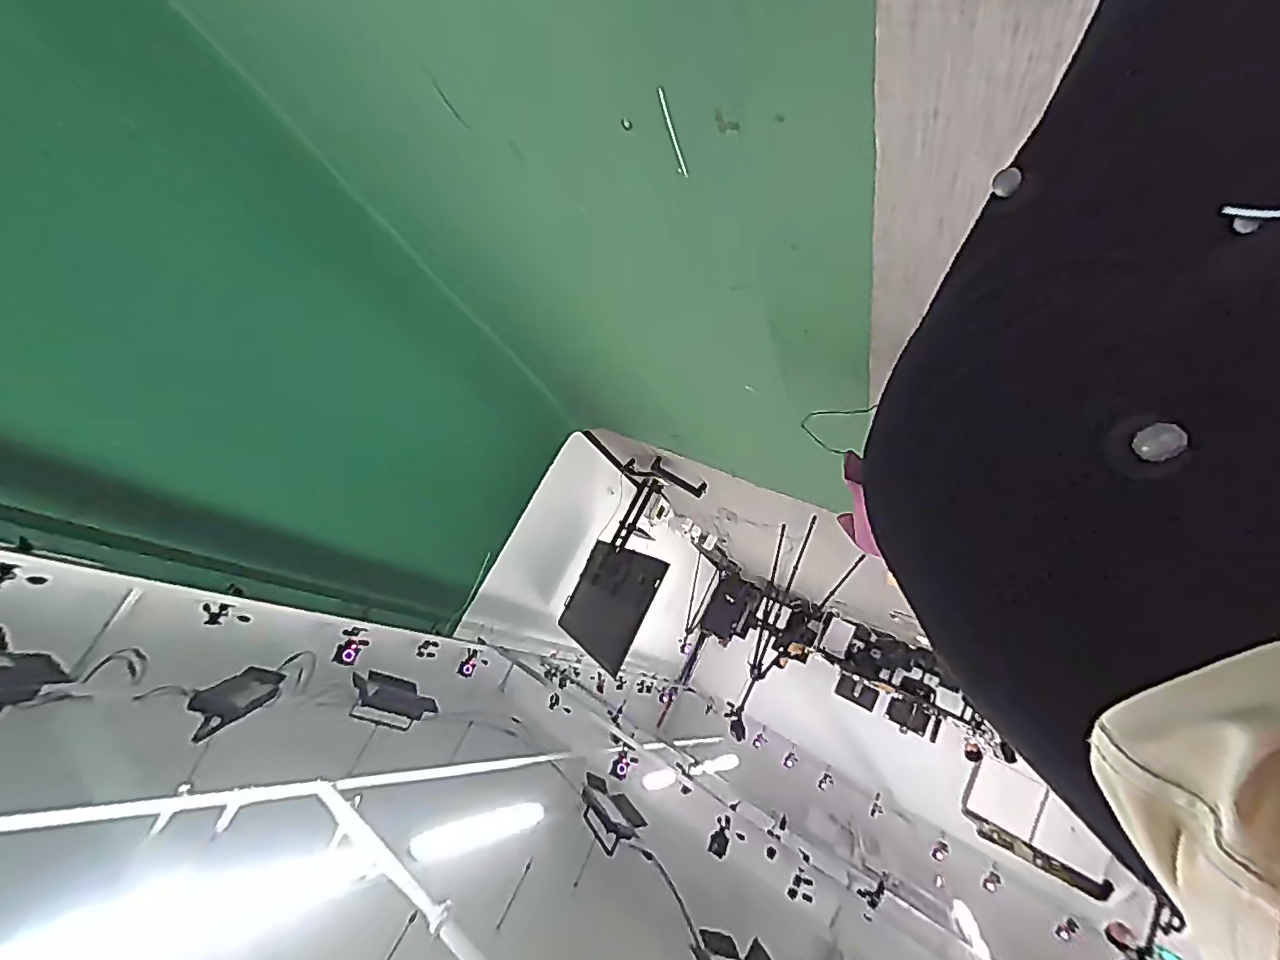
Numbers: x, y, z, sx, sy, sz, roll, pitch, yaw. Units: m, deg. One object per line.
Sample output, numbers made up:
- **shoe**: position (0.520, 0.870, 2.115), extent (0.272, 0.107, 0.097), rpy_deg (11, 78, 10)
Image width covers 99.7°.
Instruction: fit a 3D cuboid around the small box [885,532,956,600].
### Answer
- **small box**: position (0.995, 0.301, 1.929), extent (0.179, 0.176, 0.168), rpy_deg (21, 167, 29)
